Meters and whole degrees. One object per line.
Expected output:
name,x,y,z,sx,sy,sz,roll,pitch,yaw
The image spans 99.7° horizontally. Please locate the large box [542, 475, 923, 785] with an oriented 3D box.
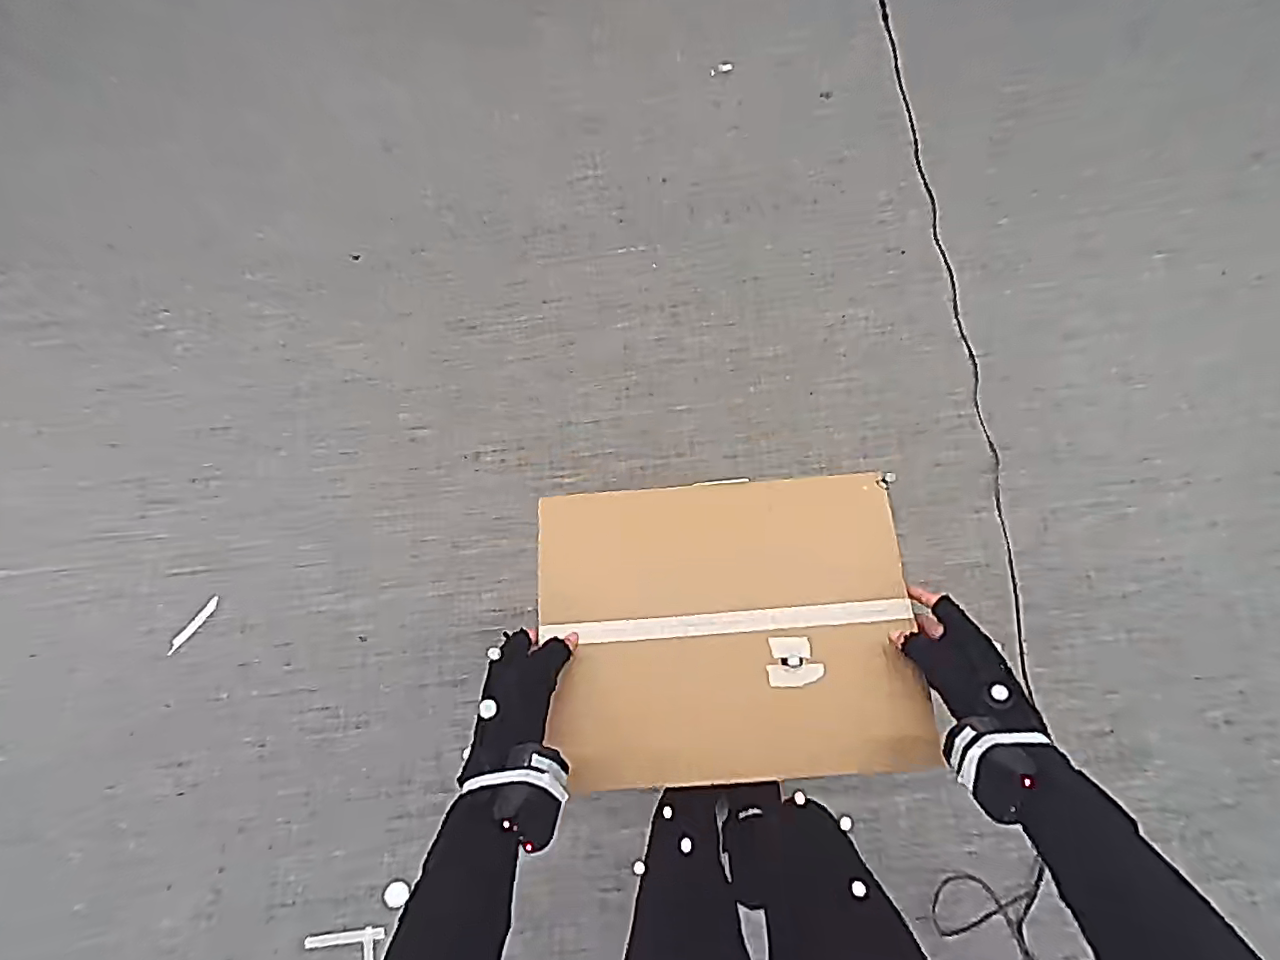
large box,0.093,0.202,0.755,0.408,0.320,0.320,-5,74,0
